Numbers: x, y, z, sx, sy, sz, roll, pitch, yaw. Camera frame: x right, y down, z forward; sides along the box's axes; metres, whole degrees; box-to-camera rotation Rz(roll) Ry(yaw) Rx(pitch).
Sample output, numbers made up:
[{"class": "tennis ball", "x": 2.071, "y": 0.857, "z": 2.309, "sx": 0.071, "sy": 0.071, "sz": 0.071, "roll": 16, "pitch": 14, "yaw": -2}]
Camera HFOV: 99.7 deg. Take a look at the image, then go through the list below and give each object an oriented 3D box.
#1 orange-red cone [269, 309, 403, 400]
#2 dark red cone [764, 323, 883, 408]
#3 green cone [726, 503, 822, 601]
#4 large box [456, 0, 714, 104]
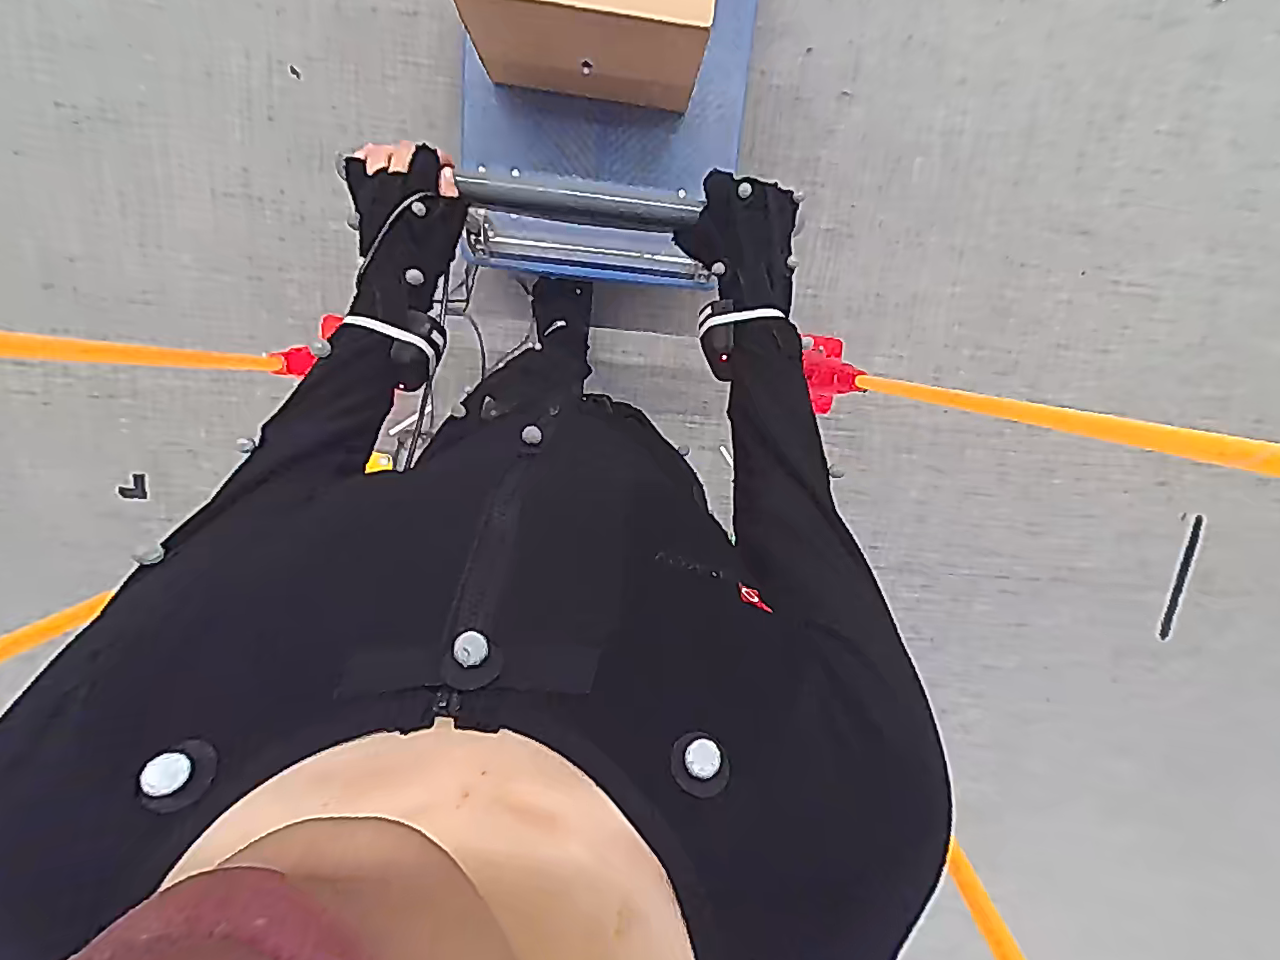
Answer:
[{"class": "orange-red cone", "x": -0.698, "y": -0.278, "z": 1.195, "sx": 0.198, "sy": 0.360, "sz": 0.199, "roll": 13, "pitch": 101, "yaw": -6}, {"class": "dark red cone", "x": 0.436, "y": -0.255, "z": 1.232, "sx": 0.201, "sy": 0.394, "sz": 0.202, "roll": 5, "pitch": 103, "yaw": -6}, {"class": "green cone", "x": 0.364, "y": 0.209, "z": 1.356, "sx": 0.202, "sy": 0.368, "sz": 0.200, "roll": 9, "pitch": 103, "yaw": -6}, {"class": "large box", "x": -0.076, "y": -0.899, "z": 0.928, "sx": 0.408, "sy": 0.320, "sz": 0.320, "roll": 6, "pitch": 104, "yaw": -4}]
